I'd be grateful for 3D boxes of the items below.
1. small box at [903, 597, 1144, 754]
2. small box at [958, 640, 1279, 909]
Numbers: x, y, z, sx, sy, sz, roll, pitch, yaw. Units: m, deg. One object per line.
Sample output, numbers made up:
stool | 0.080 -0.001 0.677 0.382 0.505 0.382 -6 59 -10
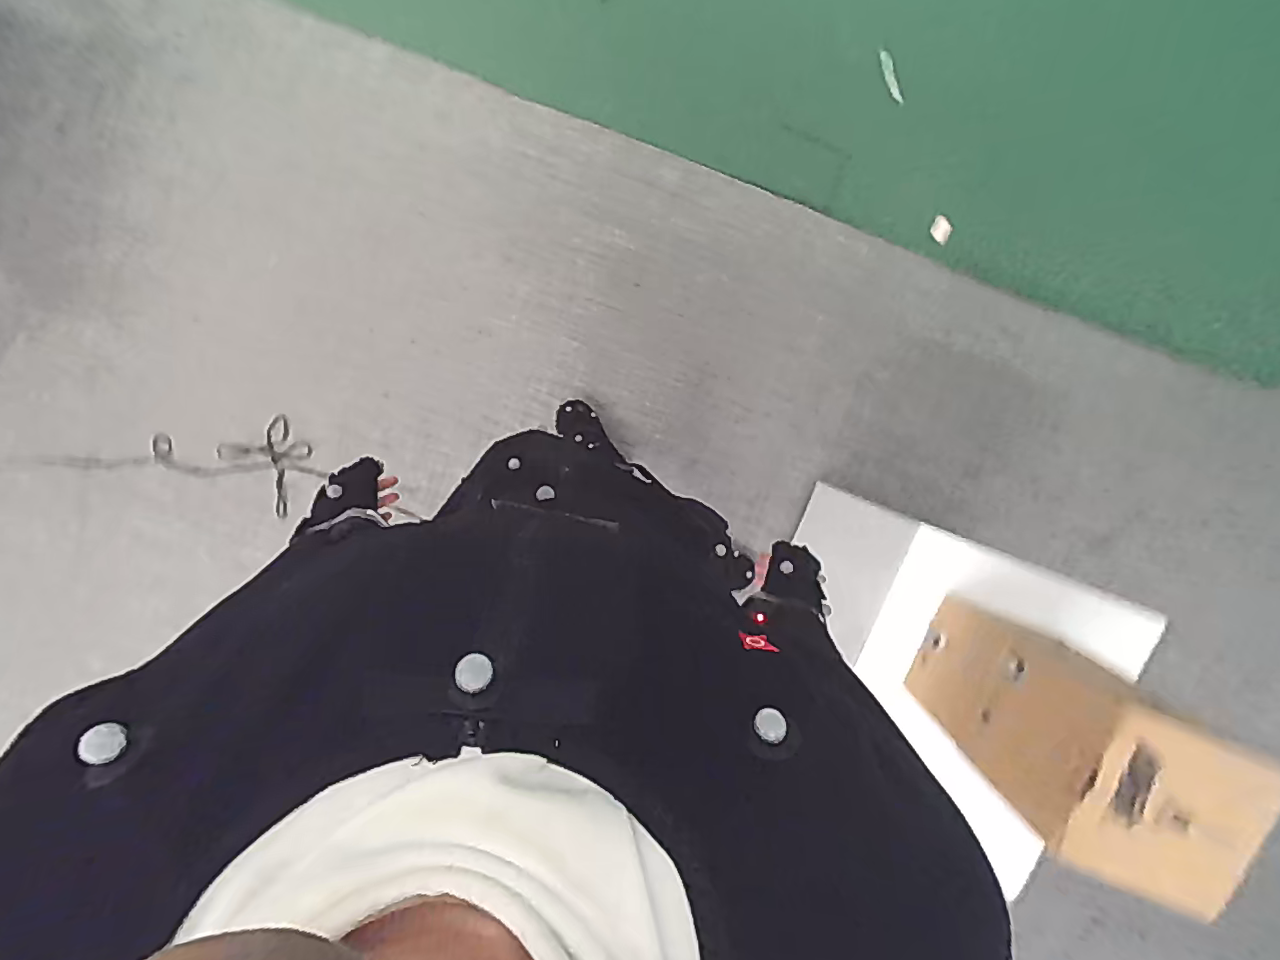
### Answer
small box | 0.501 0.280 0.737 0.179 0.176 0.168 21 97 2
small box | 0.495 0.298 0.590 0.179 0.176 0.168 23 97 -1
